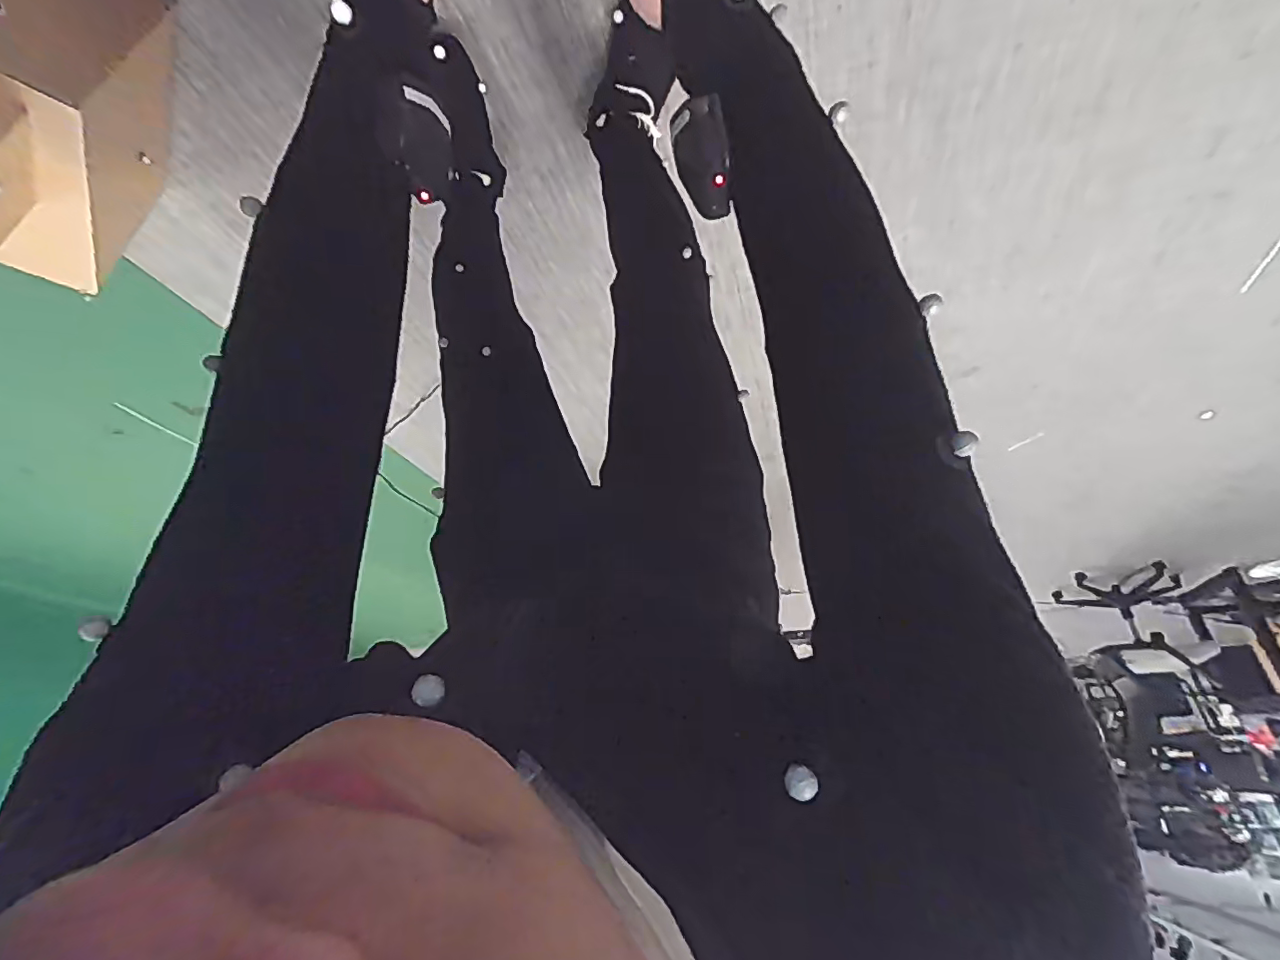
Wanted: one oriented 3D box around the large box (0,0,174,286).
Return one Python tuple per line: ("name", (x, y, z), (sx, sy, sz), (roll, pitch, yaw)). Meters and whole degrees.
("large box", (-0.953, -0.592, 0.813), (0.320, 0.320, 0.408), (22, 146, -33))
